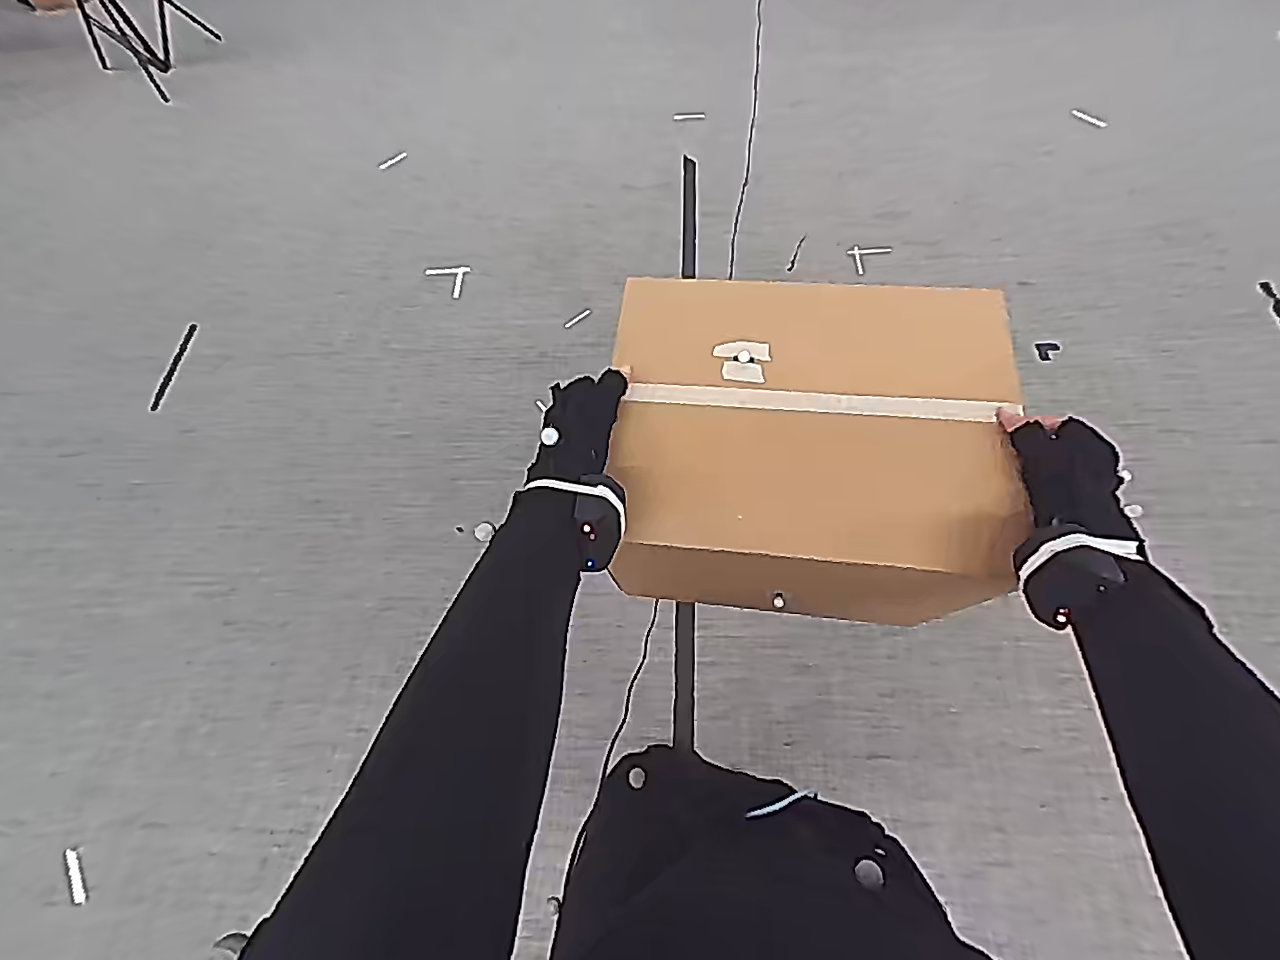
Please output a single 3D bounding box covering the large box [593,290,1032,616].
[{"bbox_3d":[0.184,-0.016,0.691,0.408,0.320,0.320,4,68,9],"label":"large box"}]
